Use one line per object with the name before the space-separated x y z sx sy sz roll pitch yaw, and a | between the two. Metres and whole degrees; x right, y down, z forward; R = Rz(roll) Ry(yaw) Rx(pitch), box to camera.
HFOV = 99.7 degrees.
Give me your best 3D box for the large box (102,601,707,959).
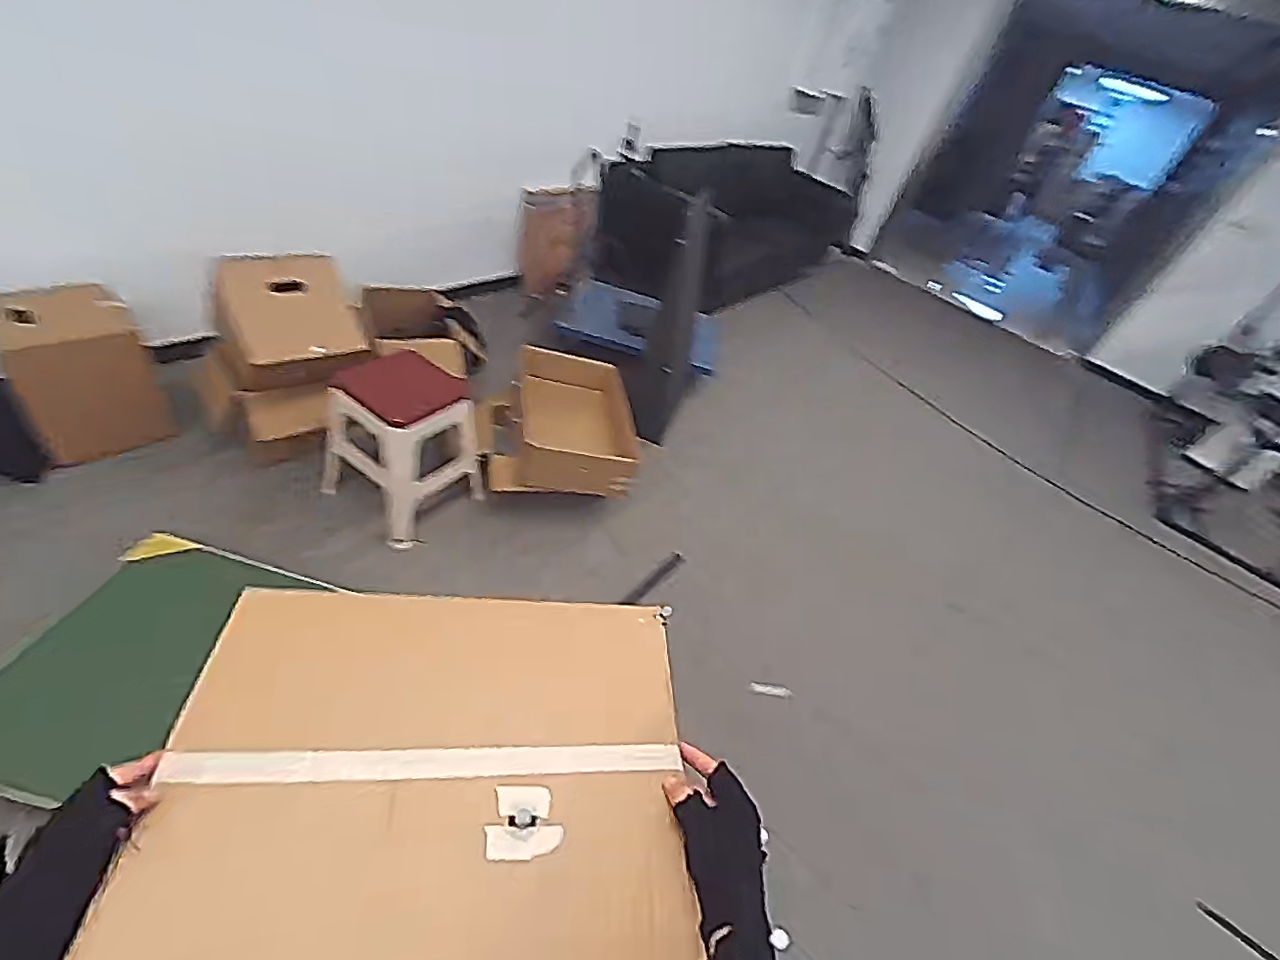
large box | -0.188 0.348 0.554 0.408 0.320 0.320 7 46 -12
